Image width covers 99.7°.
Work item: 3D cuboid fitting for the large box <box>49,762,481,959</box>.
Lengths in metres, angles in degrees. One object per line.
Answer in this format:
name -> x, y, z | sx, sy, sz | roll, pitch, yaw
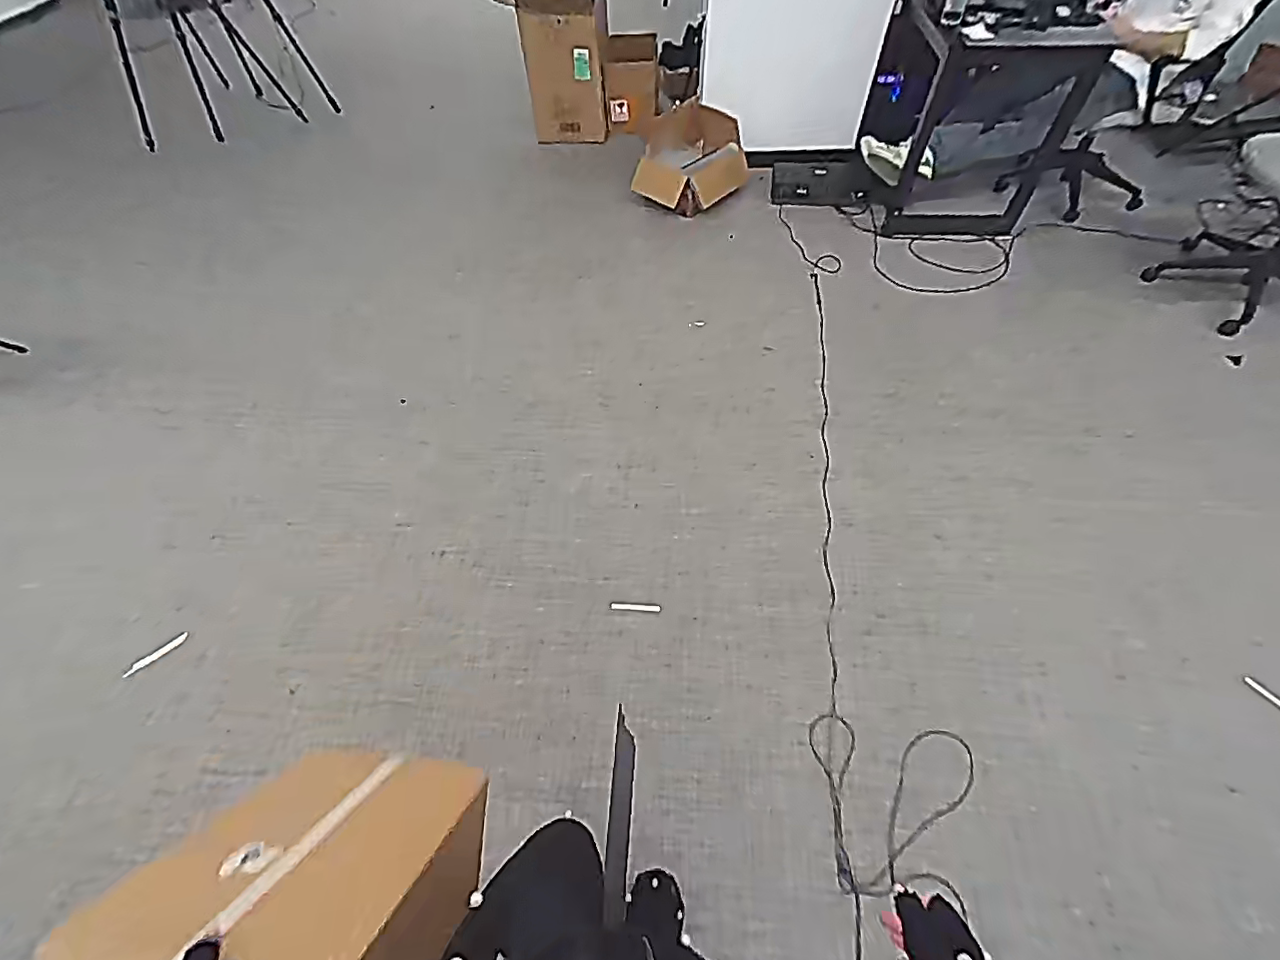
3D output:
large box -> -0.443, 0.644, 0.720 | 0.320, 0.408, 0.320 | 4, 89, 5
